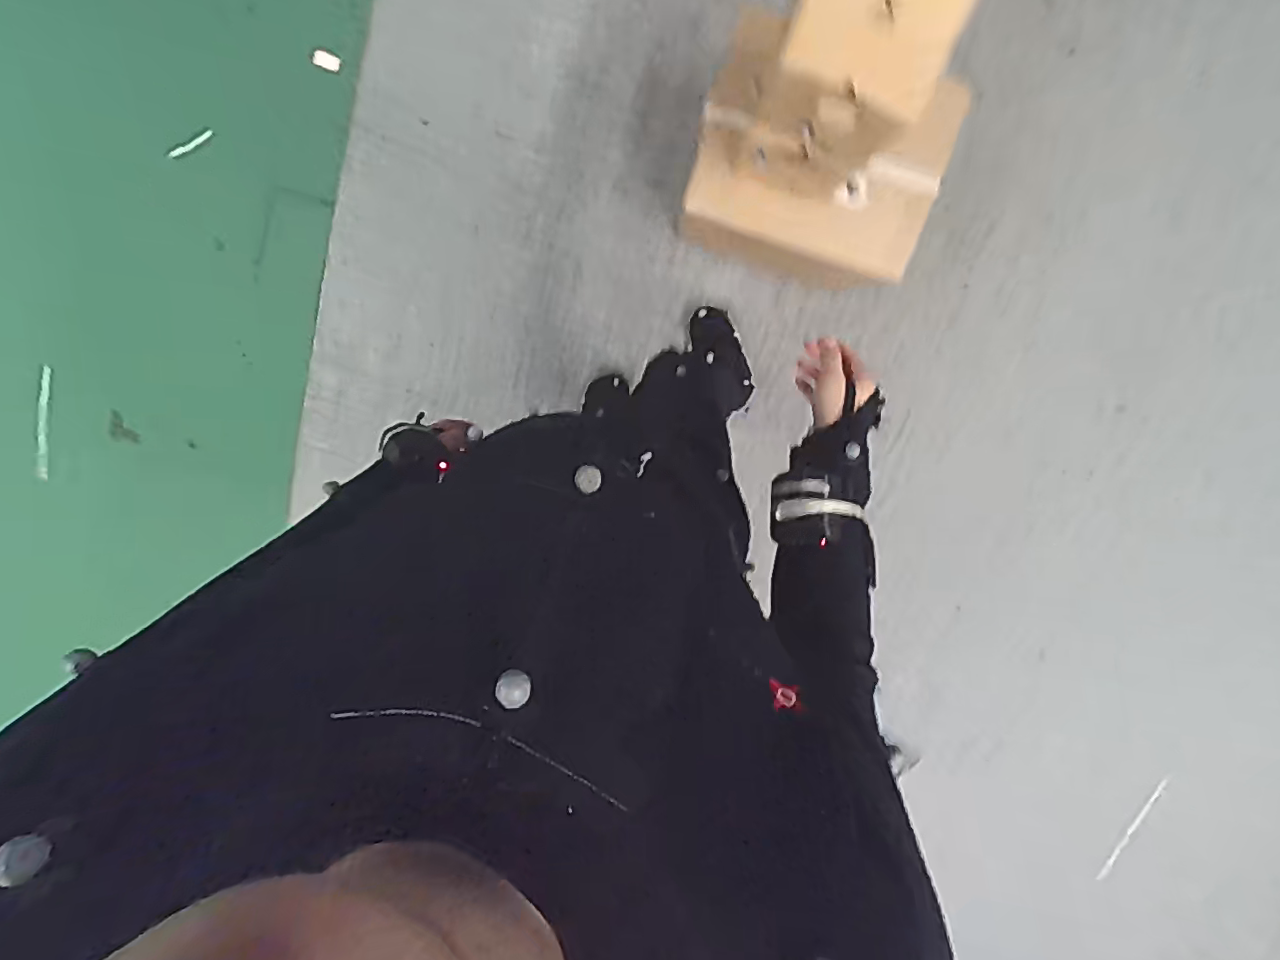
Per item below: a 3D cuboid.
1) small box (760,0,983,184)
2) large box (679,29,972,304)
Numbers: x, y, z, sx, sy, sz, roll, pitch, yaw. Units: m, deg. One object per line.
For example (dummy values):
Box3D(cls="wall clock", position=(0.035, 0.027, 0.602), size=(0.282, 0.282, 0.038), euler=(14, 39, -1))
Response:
Box3D(cls="small box", position=(0.262, -0.497, 0.652), size=(0.168, 0.176, 0.179), euler=(23, 103, -4))
Box3D(cls="large box", position=(0.313, -0.564, 1.053), size=(0.408, 0.320, 0.320), euler=(17, 105, -3))
